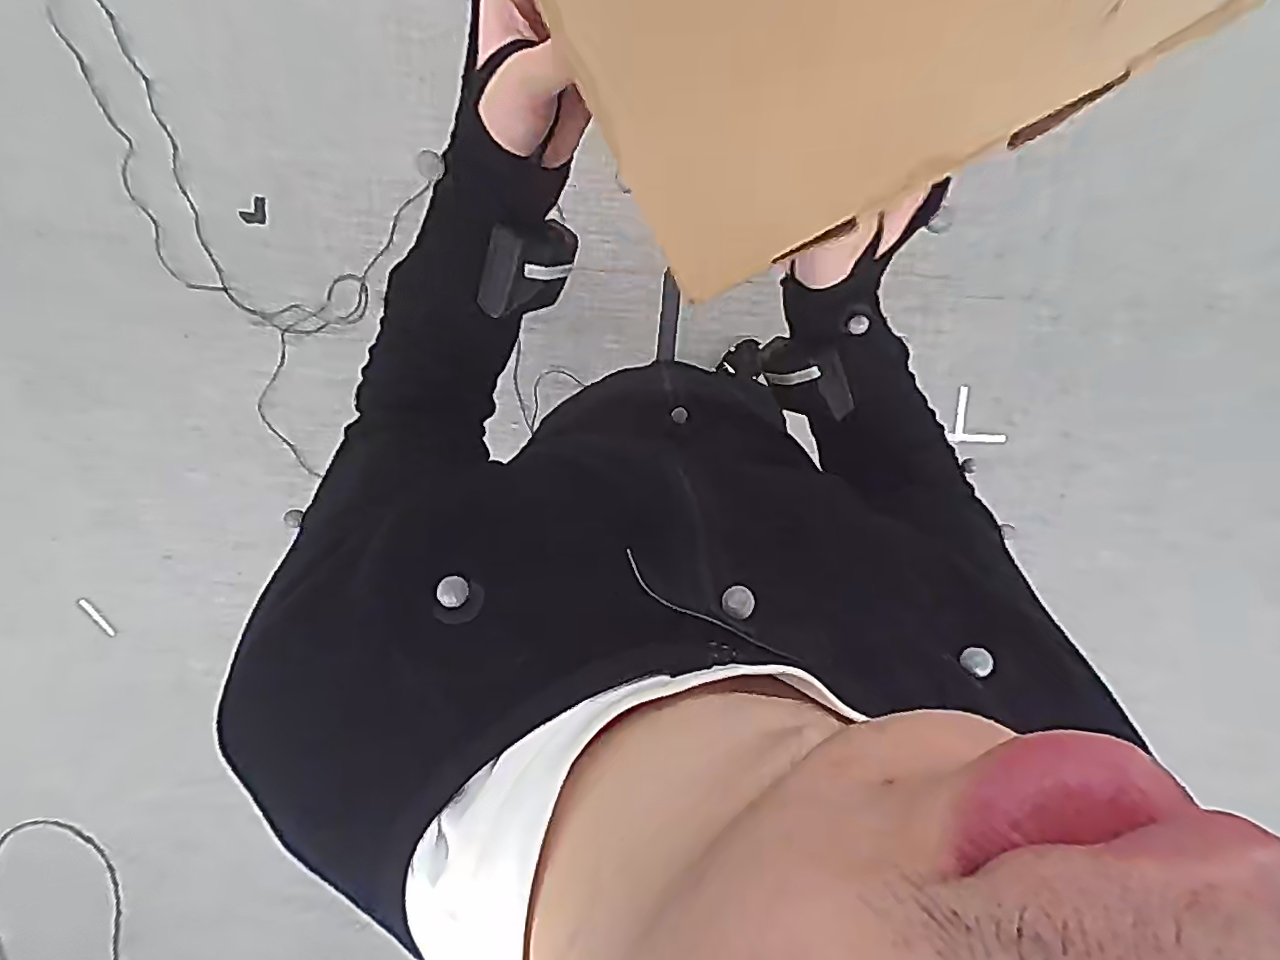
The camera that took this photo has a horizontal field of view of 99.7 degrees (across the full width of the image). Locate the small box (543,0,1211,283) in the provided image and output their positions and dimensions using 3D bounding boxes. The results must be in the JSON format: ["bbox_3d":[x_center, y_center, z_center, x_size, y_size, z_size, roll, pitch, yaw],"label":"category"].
[{"bbox_3d":[0.055,-0.210,0.201,0.168,0.176,0.179,-23,119,20],"label":"small box"}]
